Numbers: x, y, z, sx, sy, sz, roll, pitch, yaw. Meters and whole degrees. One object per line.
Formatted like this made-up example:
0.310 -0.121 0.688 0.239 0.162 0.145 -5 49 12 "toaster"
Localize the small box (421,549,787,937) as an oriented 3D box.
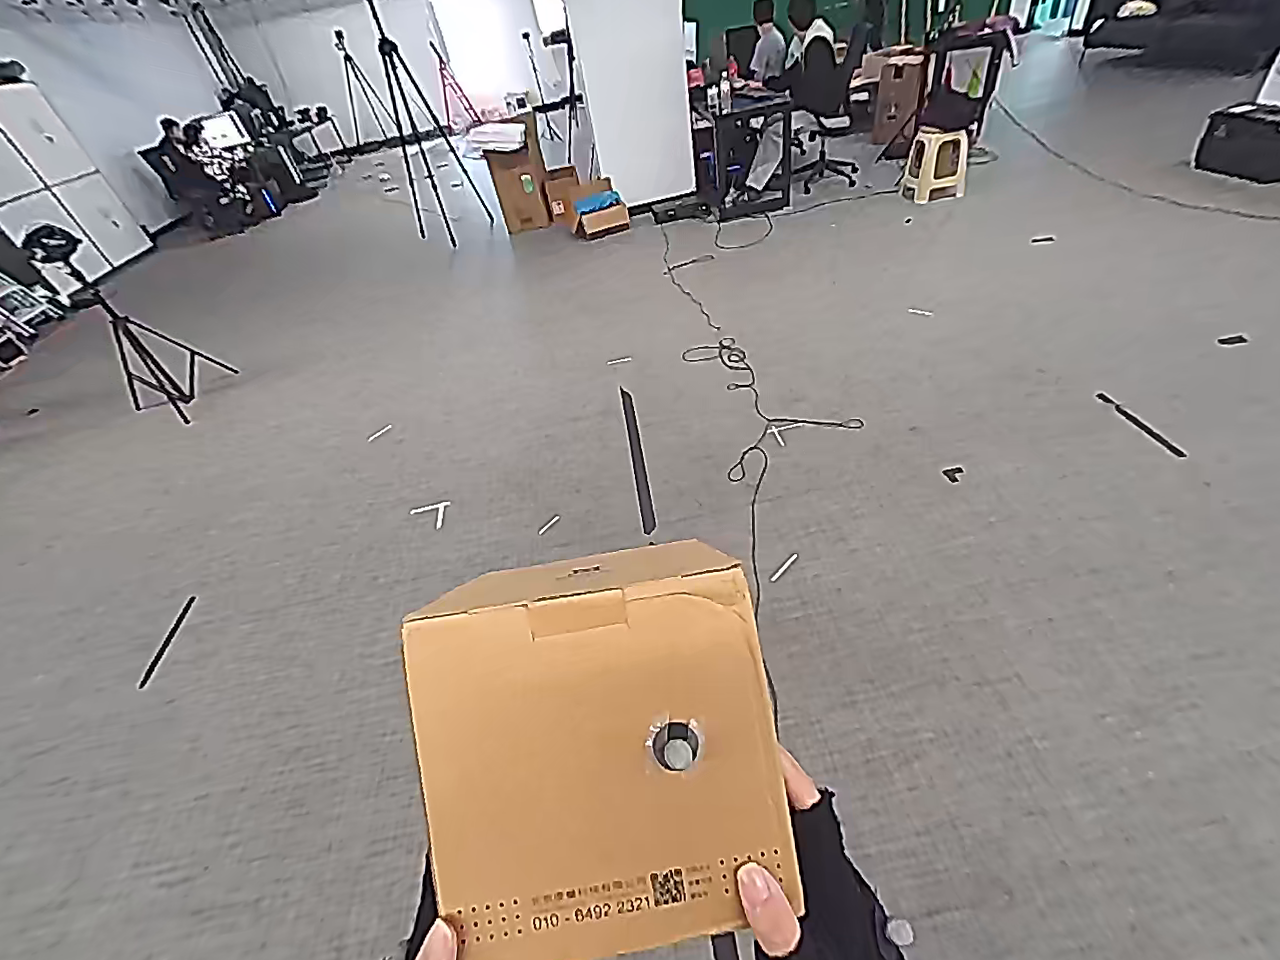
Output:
-0.016 0.148 0.348 0.168 0.176 0.179 -9 -3 -1 "small box"
